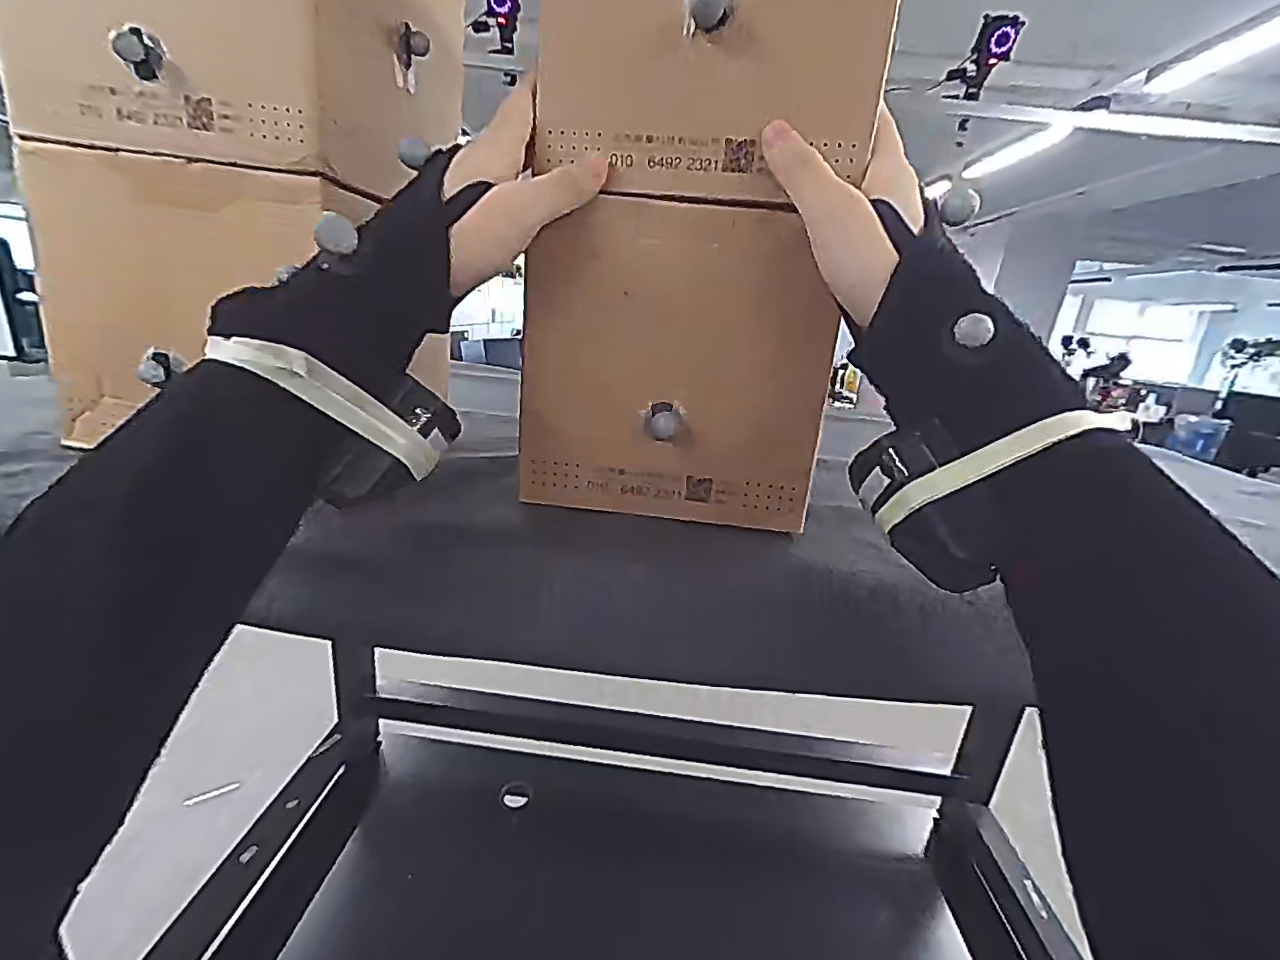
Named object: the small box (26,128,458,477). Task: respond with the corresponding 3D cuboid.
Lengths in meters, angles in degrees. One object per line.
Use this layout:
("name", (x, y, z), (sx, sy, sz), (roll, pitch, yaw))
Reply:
("small box", (-0.242, -0.112, 0.376), (0.168, 0.176, 0.179), (7, 17, 1))

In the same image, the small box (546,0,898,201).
("small box", (0.049, -0.241, 0.321), (0.168, 0.176, 0.179), (9, 17, 8))

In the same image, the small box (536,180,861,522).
("small box", (0.028, -0.083, 0.366), (0.168, 0.176, 0.179), (5, 16, 4))
